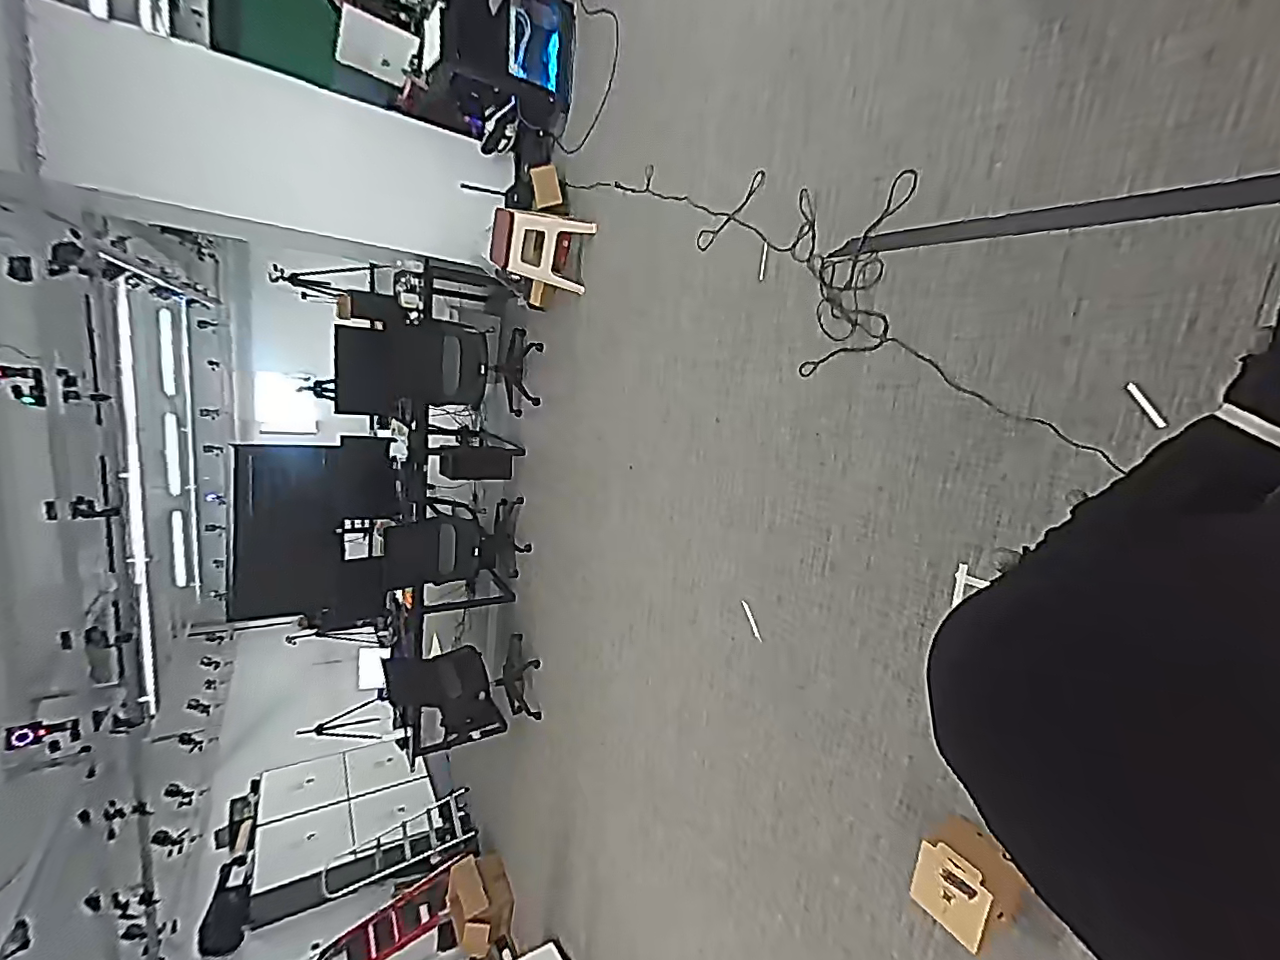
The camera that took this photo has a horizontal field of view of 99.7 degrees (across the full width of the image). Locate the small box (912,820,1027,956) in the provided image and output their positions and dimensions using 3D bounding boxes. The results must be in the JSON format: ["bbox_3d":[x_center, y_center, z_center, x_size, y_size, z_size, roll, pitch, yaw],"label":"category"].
[{"bbox_3d":[0.800,0.973,1.309,0.168,0.176,0.179,24,112,56],"label":"small box"}]
